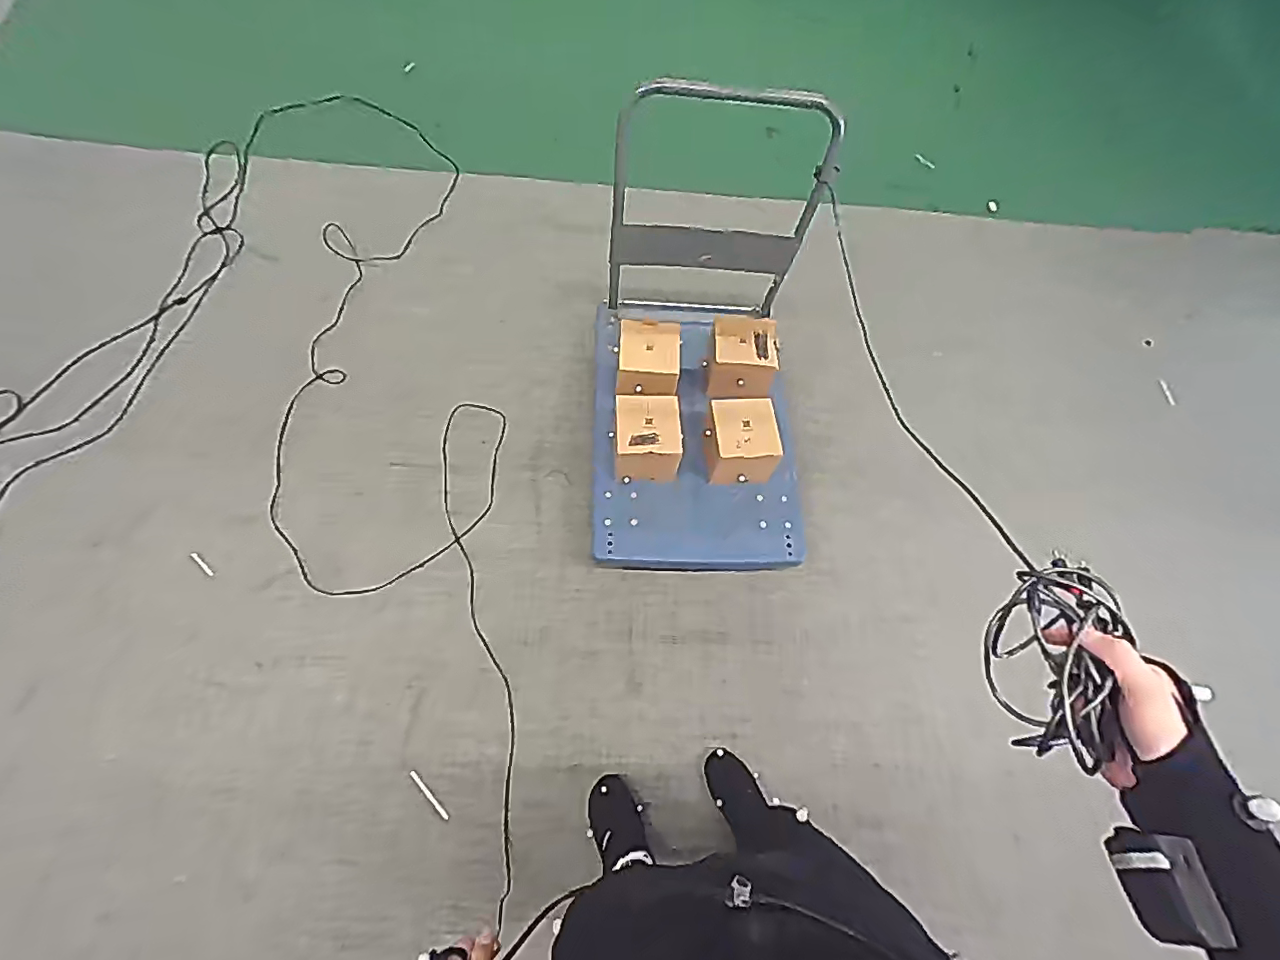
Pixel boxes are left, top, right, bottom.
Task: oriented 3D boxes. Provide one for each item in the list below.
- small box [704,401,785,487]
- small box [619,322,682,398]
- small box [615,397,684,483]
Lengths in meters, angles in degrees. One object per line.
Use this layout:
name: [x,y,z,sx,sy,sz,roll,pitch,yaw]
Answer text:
small box: [0.275,-0.095,1.464,0.168,0.176,0.179,-2,64,-5]
small box: [0.028,-0.326,1.551,0.168,0.176,0.179,4,64,-4]
small box: [0.021,-0.102,1.444,0.168,0.176,0.179,1,65,-6]
